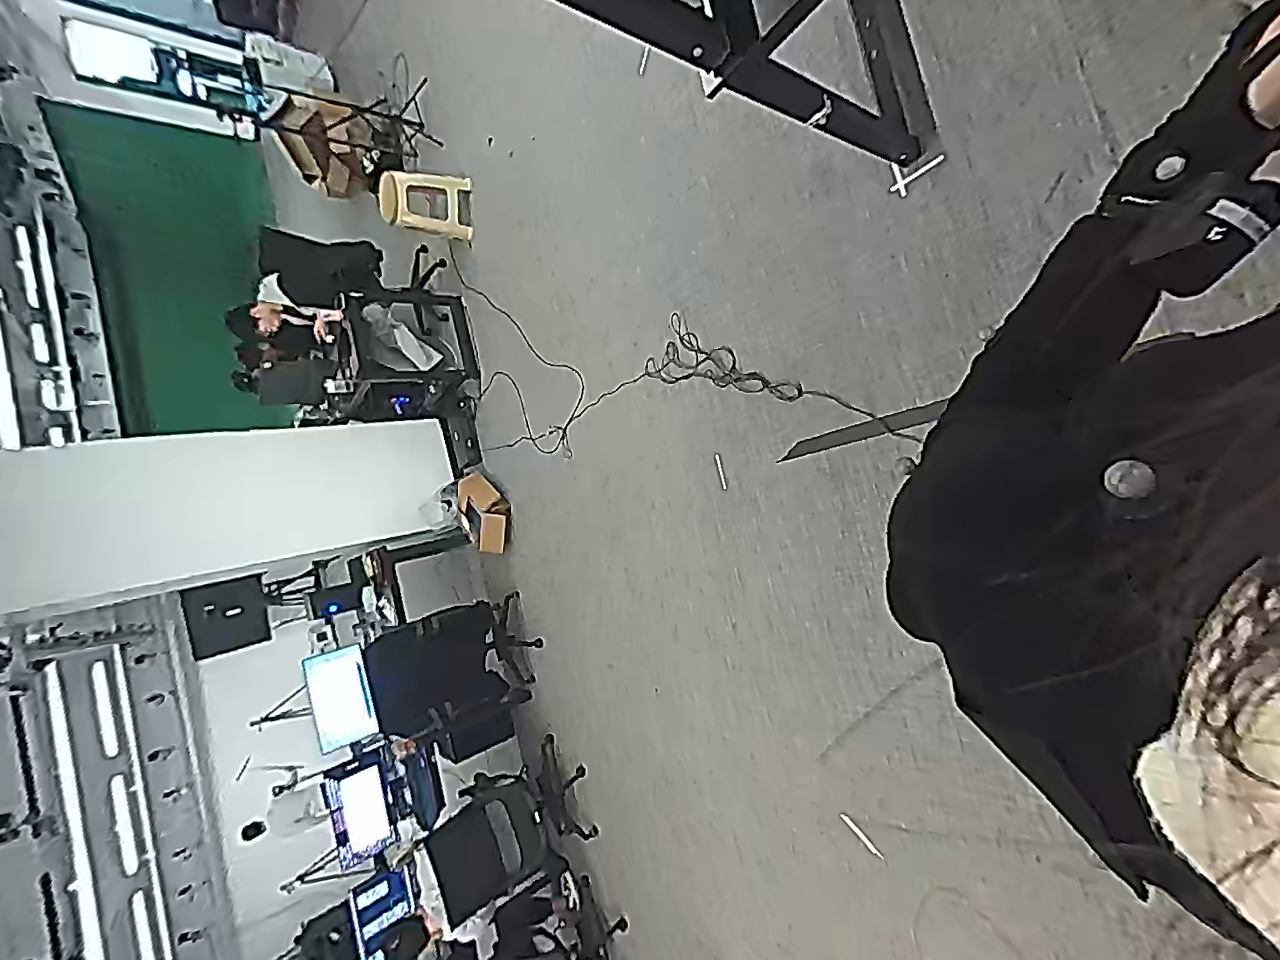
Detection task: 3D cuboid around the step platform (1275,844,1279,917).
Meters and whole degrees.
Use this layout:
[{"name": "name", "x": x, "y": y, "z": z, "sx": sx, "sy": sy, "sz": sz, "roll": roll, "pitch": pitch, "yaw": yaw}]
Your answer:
[{"name": "step platform", "x": 1.384, "y": 0.760, "z": 0.726, "sx": 0.684, "sy": 0.204, "sz": 0.286, "roll": -8, "pitch": 92, "yaw": 51}]
